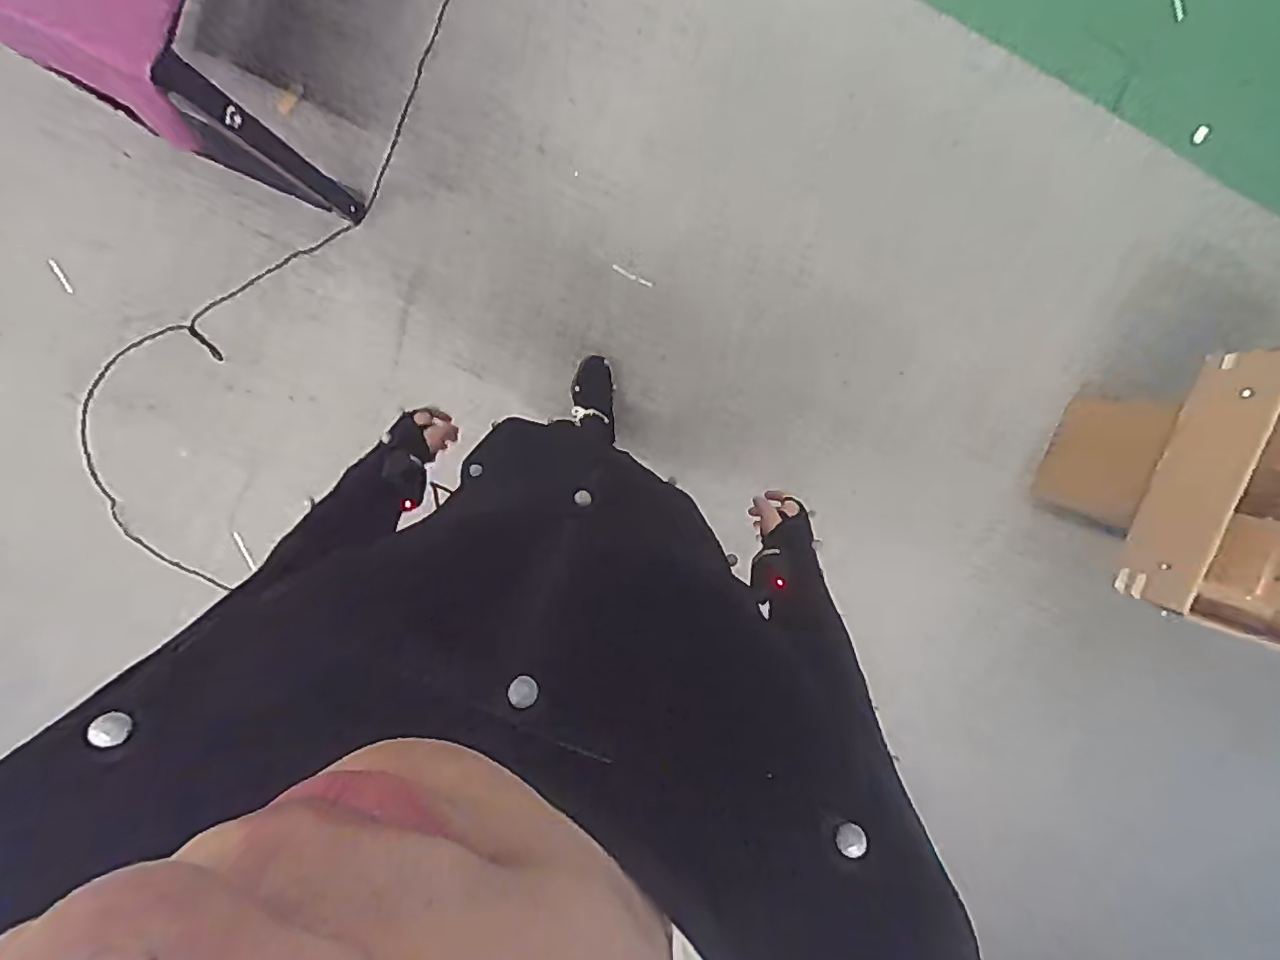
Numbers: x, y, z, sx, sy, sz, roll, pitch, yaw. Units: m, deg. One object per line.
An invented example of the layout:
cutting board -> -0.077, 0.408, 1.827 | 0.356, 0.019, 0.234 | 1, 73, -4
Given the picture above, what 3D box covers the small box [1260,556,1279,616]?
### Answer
small box -> 1.401, 0.221, 1.057 | 0.179, 0.176, 0.168 | 11, 97, -4
